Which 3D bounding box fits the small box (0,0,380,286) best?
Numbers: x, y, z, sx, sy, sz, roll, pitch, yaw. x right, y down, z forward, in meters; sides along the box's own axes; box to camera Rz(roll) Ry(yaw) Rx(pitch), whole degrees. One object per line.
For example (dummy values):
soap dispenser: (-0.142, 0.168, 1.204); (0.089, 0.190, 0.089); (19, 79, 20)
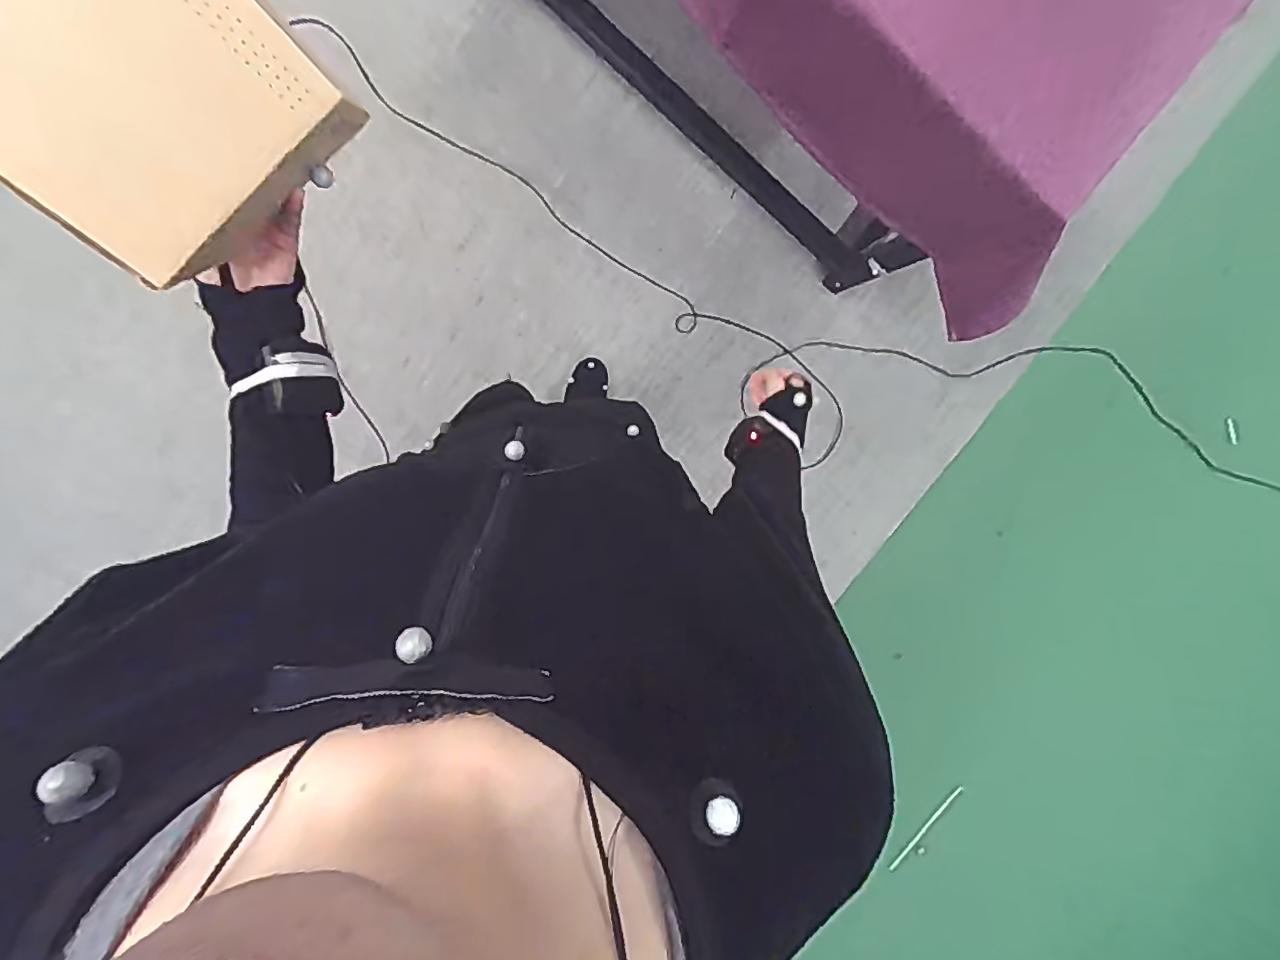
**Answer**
small box: (-0.303, -0.263, 0.347); (0.176, 0.168, 0.179); (-40, 124, 7)
